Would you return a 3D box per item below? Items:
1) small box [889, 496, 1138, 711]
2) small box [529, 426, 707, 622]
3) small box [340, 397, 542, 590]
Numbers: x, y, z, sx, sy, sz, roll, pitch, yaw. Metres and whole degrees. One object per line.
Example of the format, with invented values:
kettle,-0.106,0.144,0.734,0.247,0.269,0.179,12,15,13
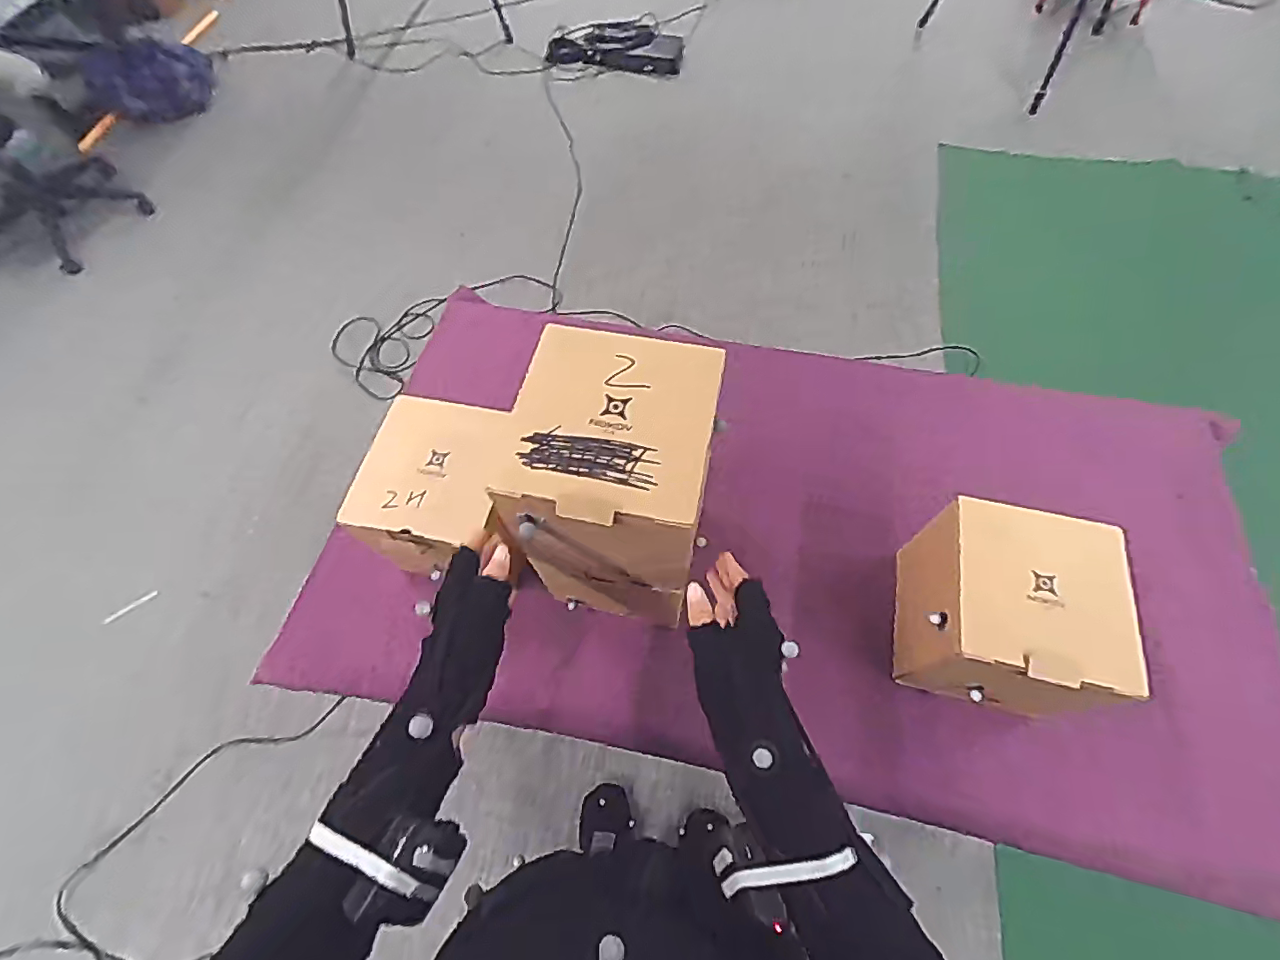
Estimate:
small box,0.399,0.146,0.613,0.168,0.176,0.179,12,63,8
small box,-0.018,0.062,0.669,0.168,0.176,0.179,11,63,7
small box,-0.234,0.023,0.694,0.168,0.176,0.179,10,63,7
